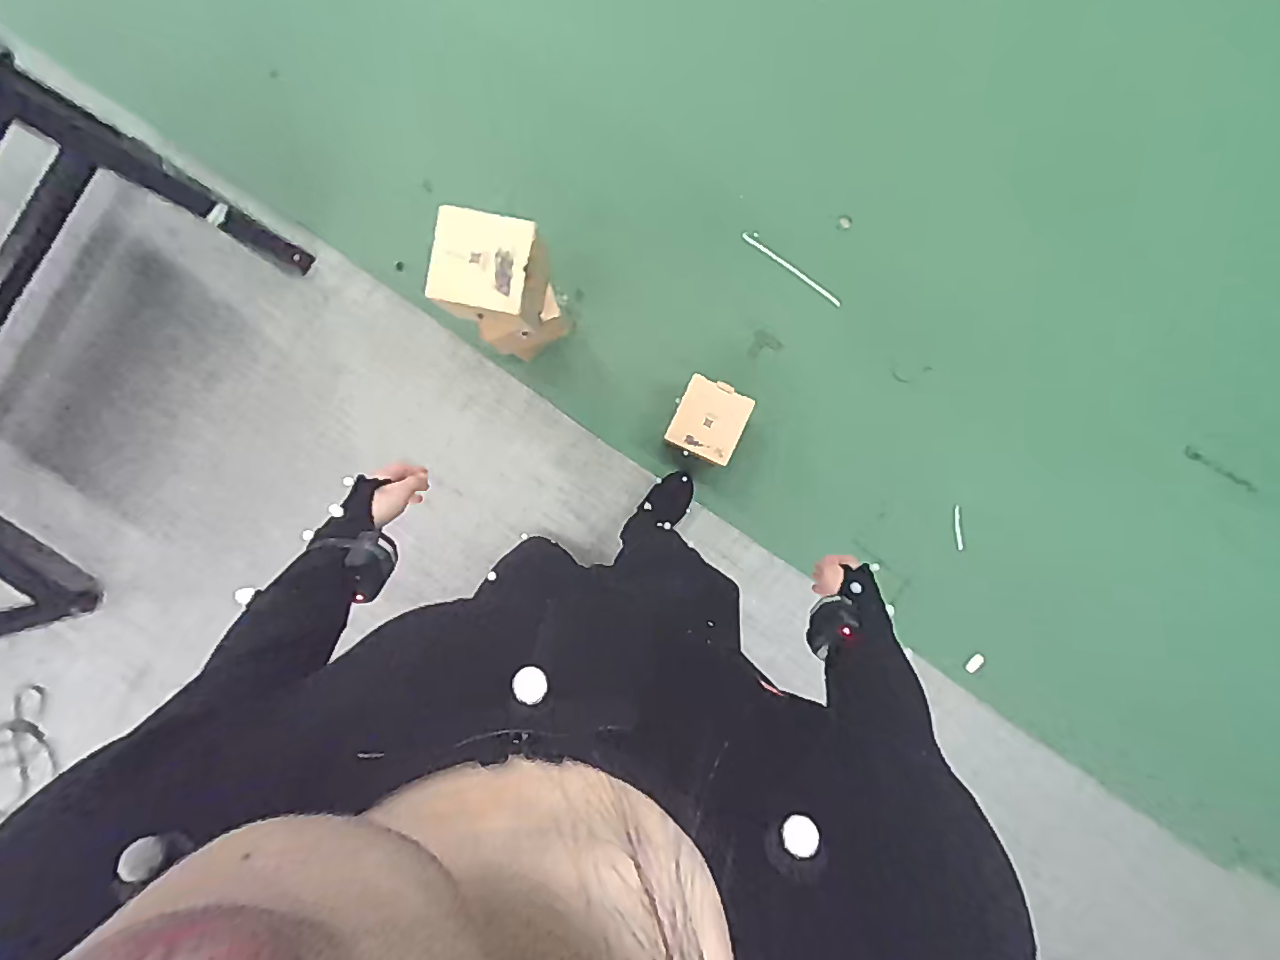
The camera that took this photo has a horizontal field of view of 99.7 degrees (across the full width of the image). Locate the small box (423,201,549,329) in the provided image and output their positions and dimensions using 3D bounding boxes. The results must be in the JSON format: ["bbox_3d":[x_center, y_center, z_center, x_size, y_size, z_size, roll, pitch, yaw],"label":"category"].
[{"bbox_3d":[-0.282,-0.396,1.027,0.179,0.176,0.168,12,94,0],"label":"small box"}]

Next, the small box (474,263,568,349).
[{"bbox_3d":[-0.272,-0.401,1.191,0.179,0.176,0.168,-18,95,1],"label":"small box"}]

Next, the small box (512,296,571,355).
[{"bbox_3d":[-0.293,-0.434,1.352,0.179,0.176,0.168,-39,93,2],"label":"small box"}]

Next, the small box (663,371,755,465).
[{"bbox_3d":[0.163,-0.151,1.362,0.168,0.176,0.179,25,92,-1],"label":"small box"}]
